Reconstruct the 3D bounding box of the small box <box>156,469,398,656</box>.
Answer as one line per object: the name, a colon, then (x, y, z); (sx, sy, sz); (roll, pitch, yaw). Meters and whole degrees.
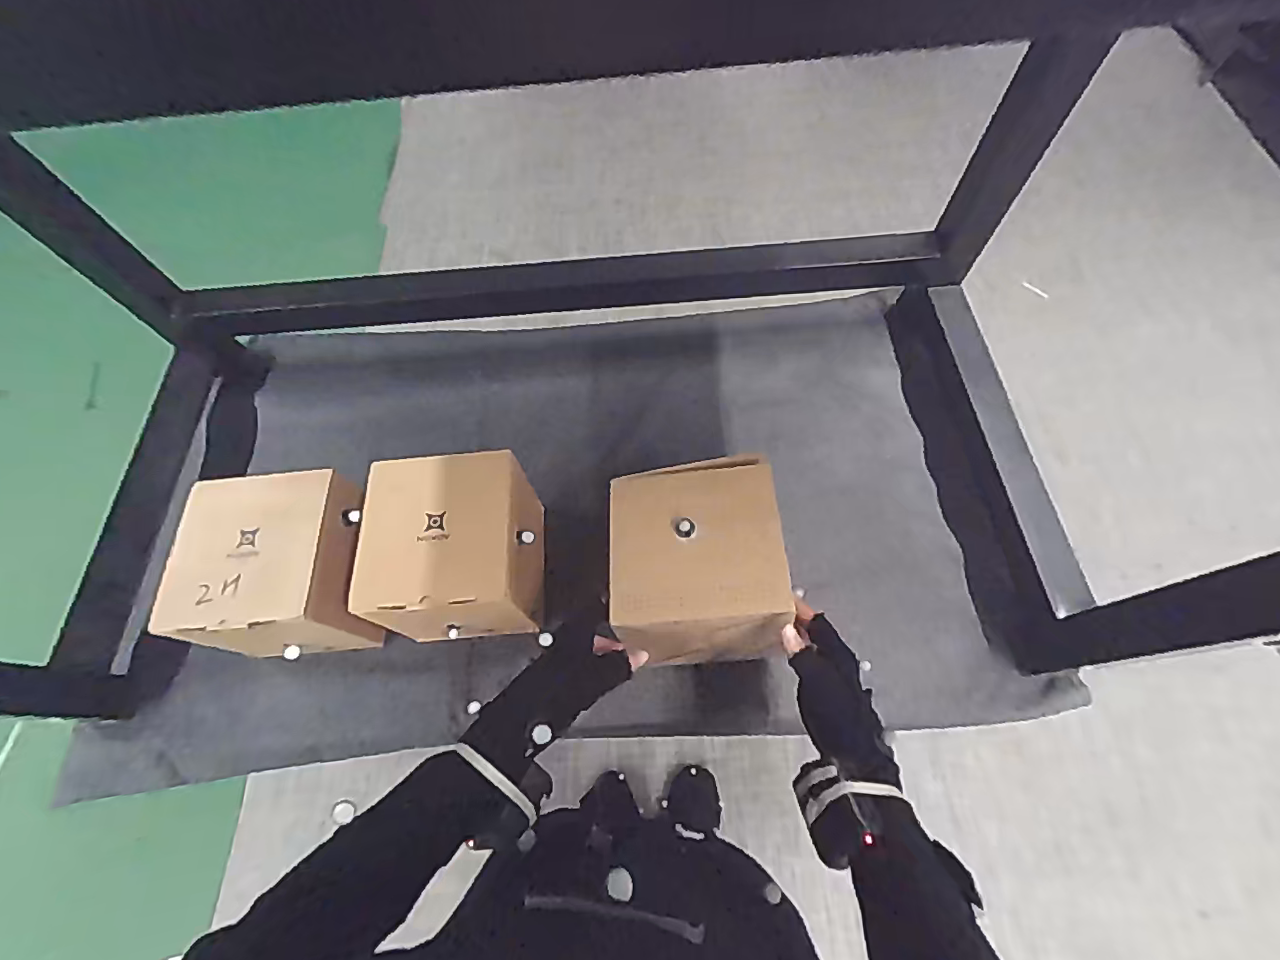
small box: (-0.418, 0.107, 0.662); (0.168, 0.176, 0.179); (-5, 63, 1)
